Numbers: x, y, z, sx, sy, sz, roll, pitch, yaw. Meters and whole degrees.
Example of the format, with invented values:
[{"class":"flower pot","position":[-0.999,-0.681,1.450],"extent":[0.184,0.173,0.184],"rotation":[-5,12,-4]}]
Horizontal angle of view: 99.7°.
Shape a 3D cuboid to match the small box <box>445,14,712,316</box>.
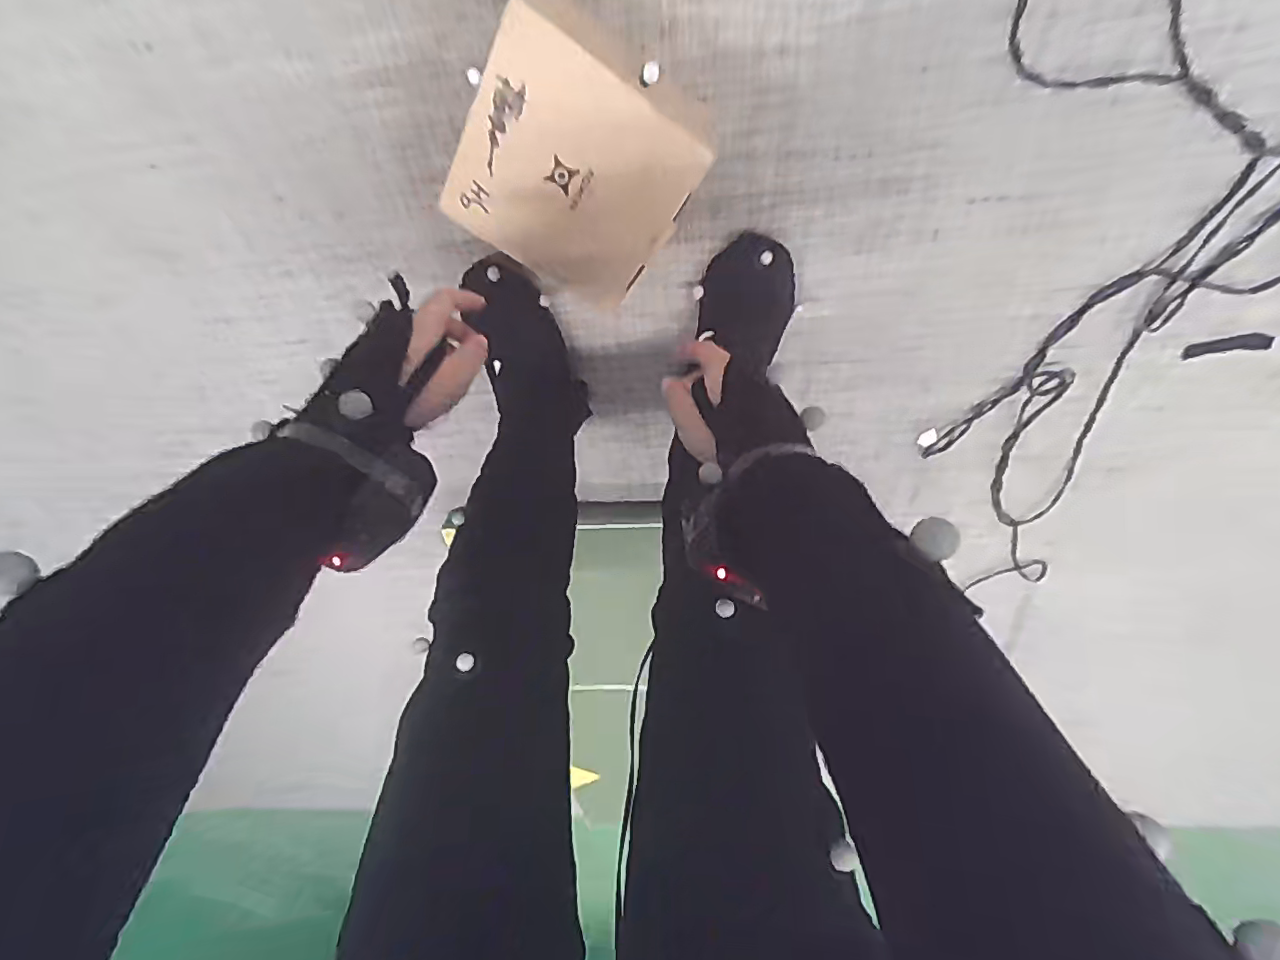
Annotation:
[{"class":"small box","position":[-0.052,-0.298,0.513],"extent":[0.179,0.176,0.168],"rotation":[27,129,-20]}]
